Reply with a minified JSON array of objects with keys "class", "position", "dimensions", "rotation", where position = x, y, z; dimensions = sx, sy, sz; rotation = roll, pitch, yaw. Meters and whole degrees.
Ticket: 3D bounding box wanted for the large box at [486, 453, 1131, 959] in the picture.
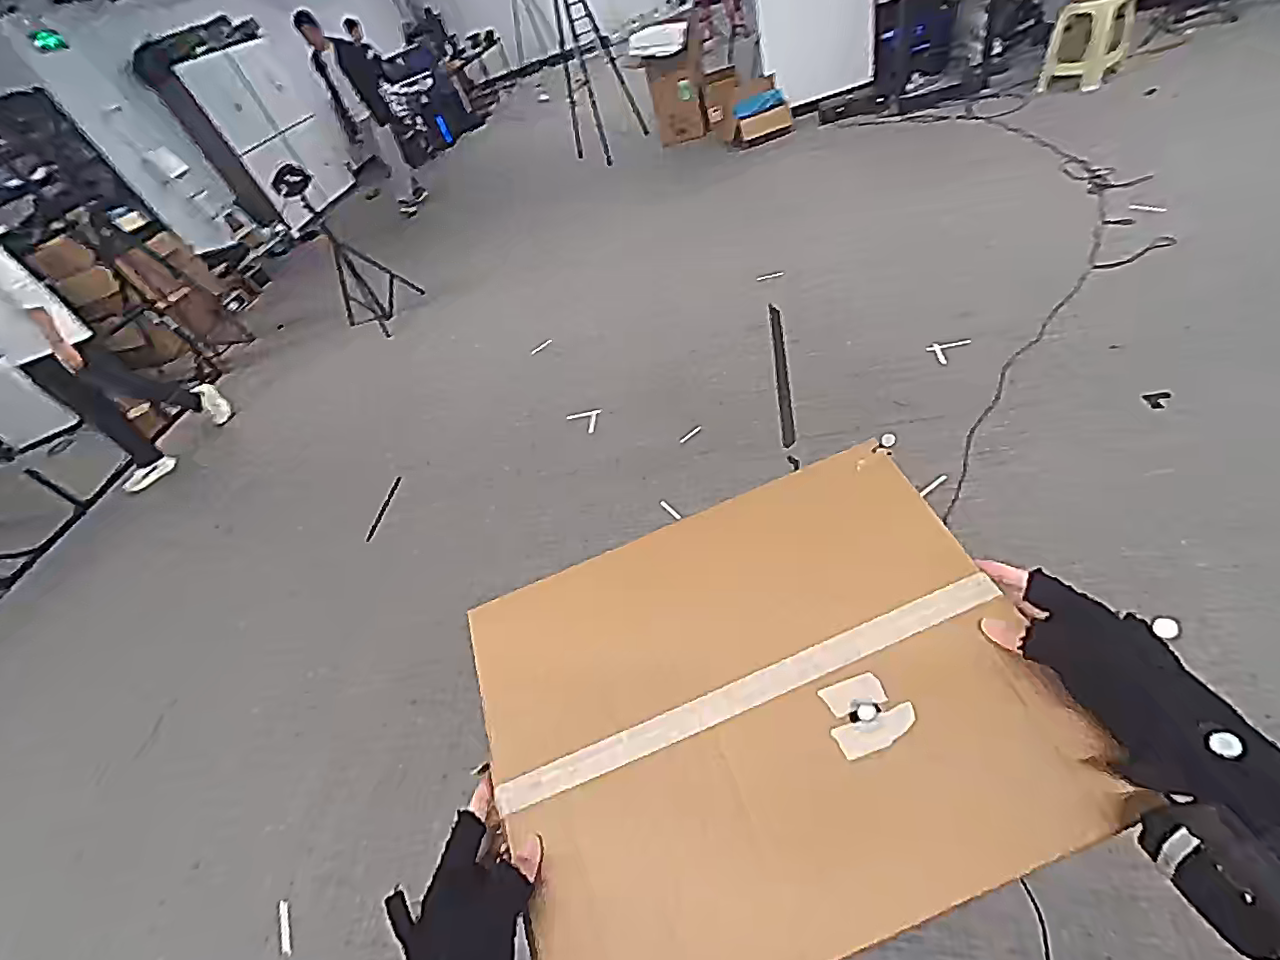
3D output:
[{"class":"large box","position":[0.115,0.244,0.547],"dimensions":[0.408,0.320,0.320],"rotation":[-23,57,-1]}]
